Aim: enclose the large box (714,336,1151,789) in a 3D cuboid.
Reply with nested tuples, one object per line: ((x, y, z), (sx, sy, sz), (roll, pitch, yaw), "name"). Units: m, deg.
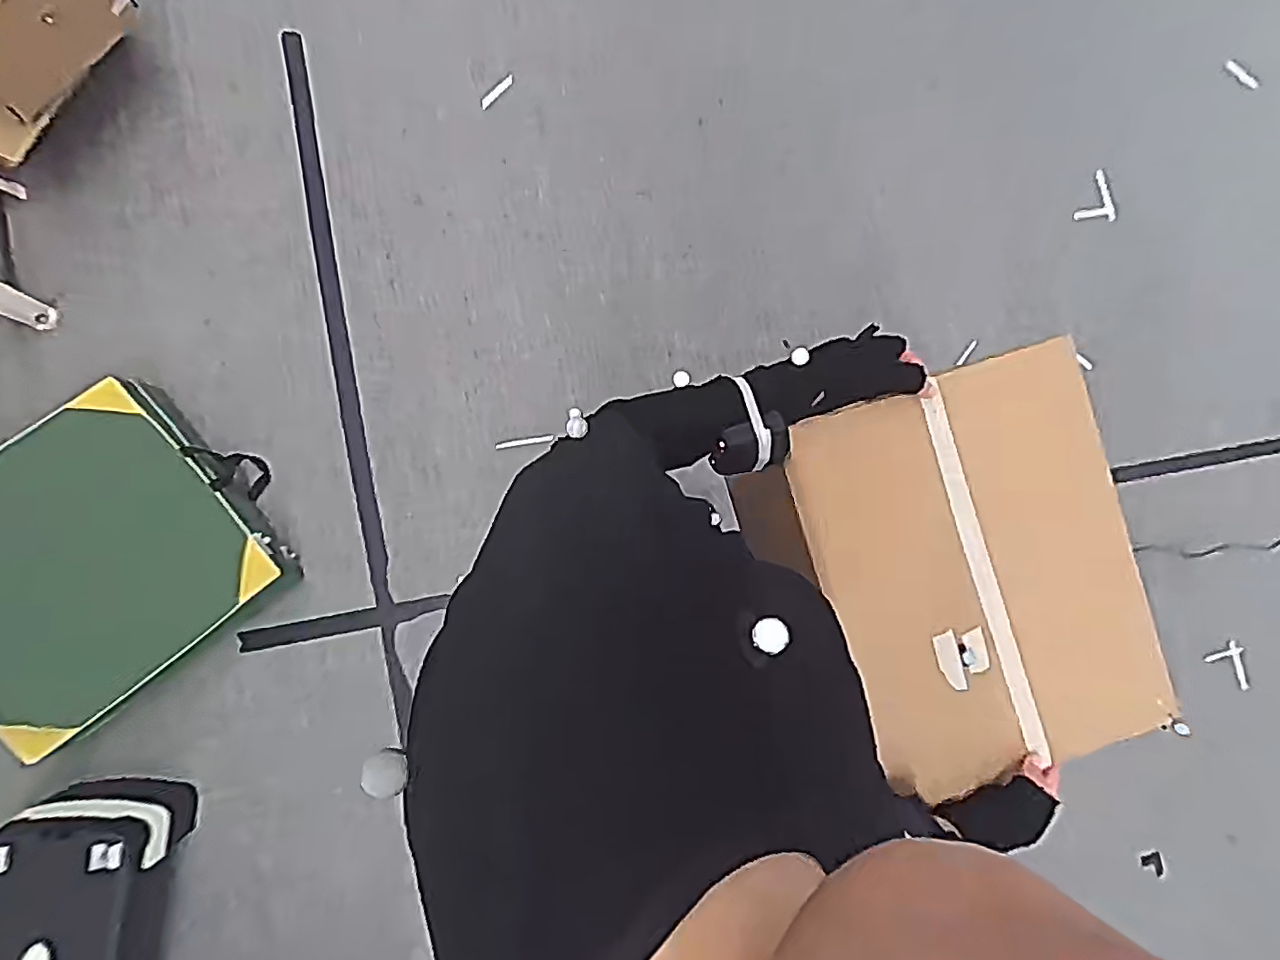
((0.324, 0.079, 0.700), (0.320, 0.320, 0.408), (-18, 93, -2), "large box")
